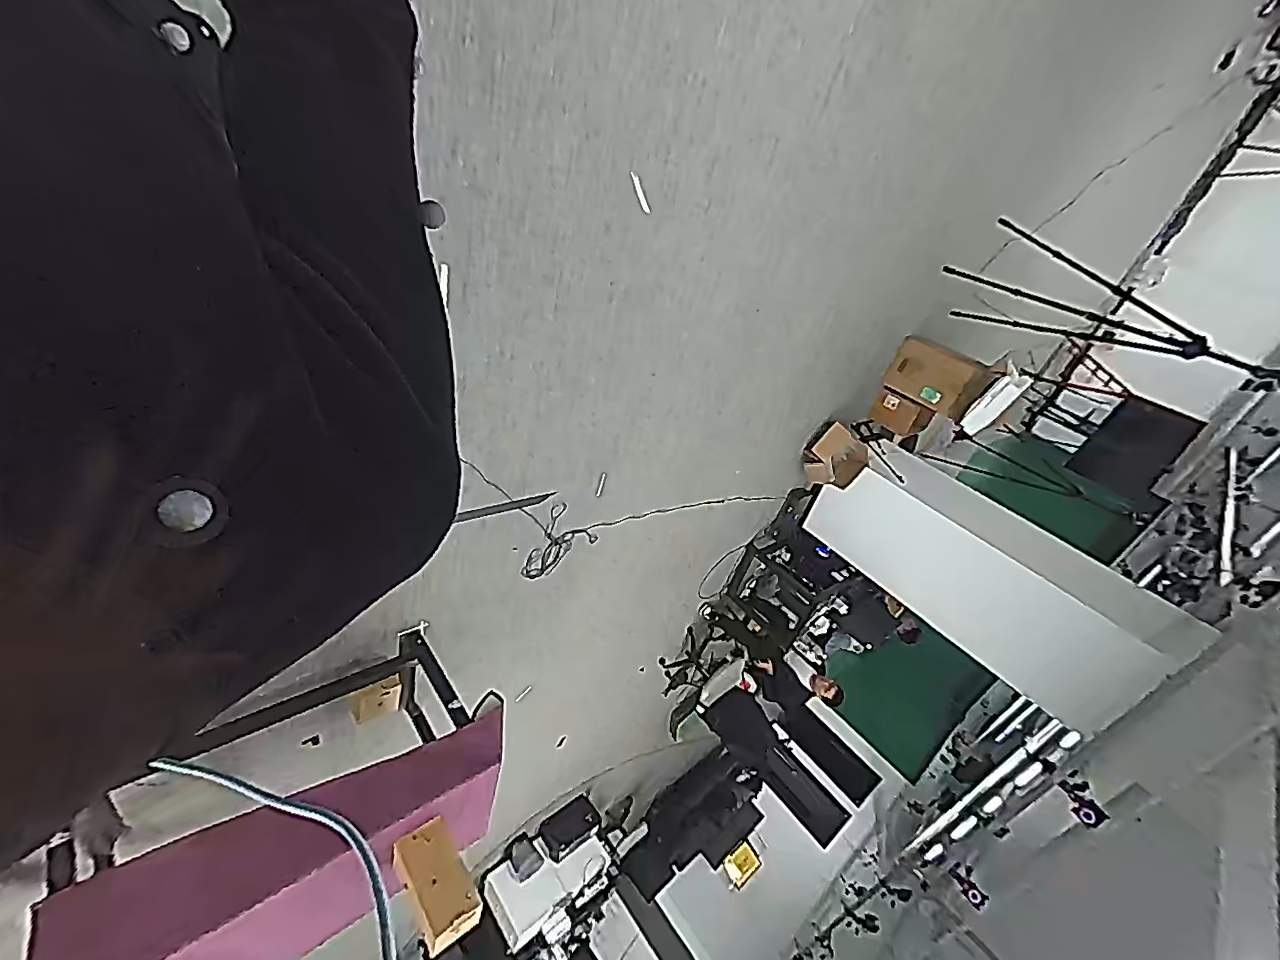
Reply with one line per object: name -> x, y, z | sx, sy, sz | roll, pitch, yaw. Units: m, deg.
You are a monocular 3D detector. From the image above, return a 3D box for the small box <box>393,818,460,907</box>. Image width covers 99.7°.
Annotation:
small box -> -0.761, 1.349, 1.917 | 0.168, 0.176, 0.179 | -14, 133, -41
